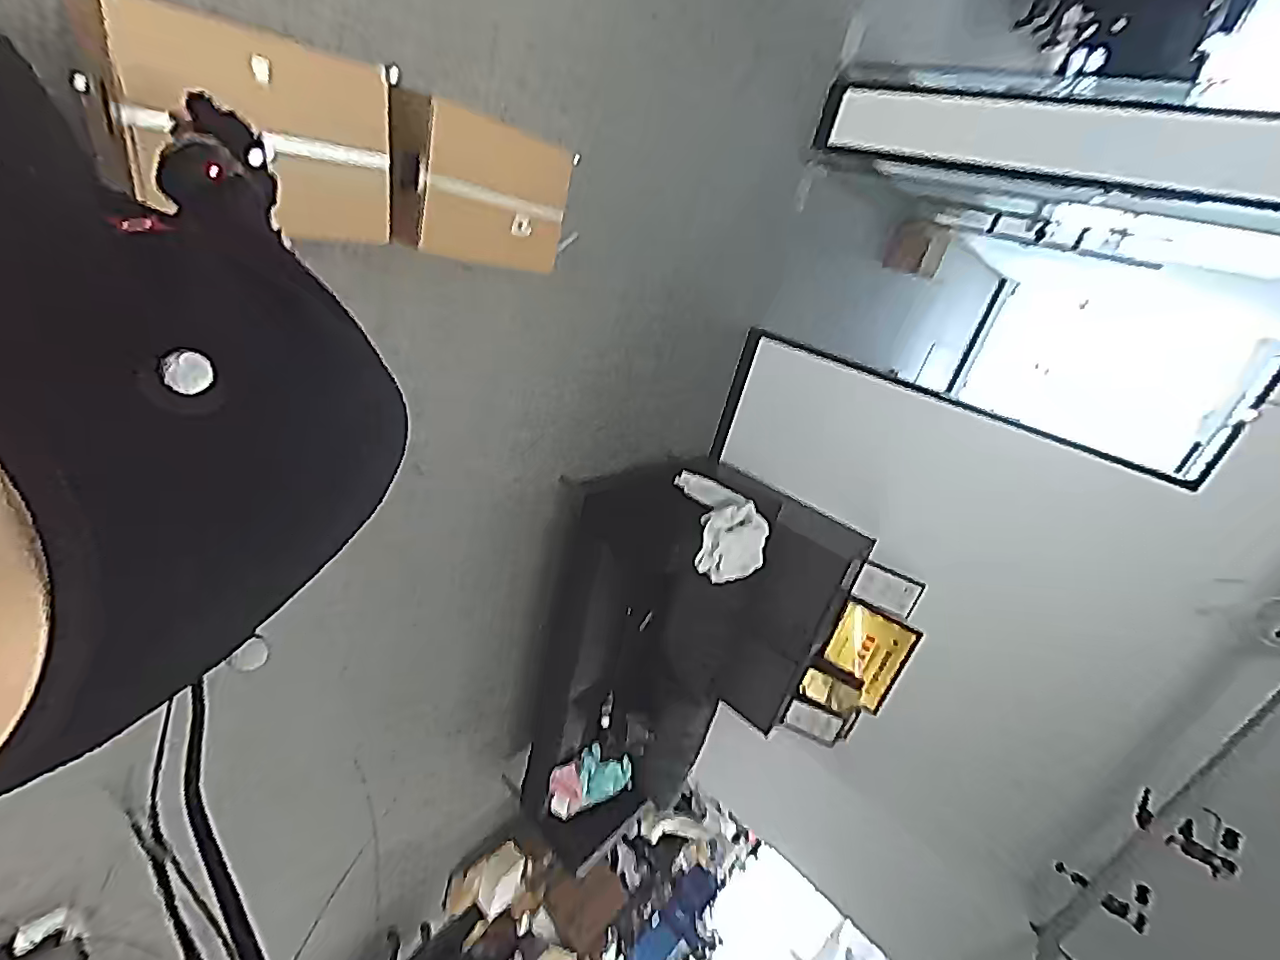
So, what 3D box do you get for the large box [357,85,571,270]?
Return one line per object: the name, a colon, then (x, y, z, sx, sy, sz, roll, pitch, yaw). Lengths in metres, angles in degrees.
large box: (-0.447, -0.751, 1.375, 0.408, 0.320, 0.320, -14, 129, -51)
